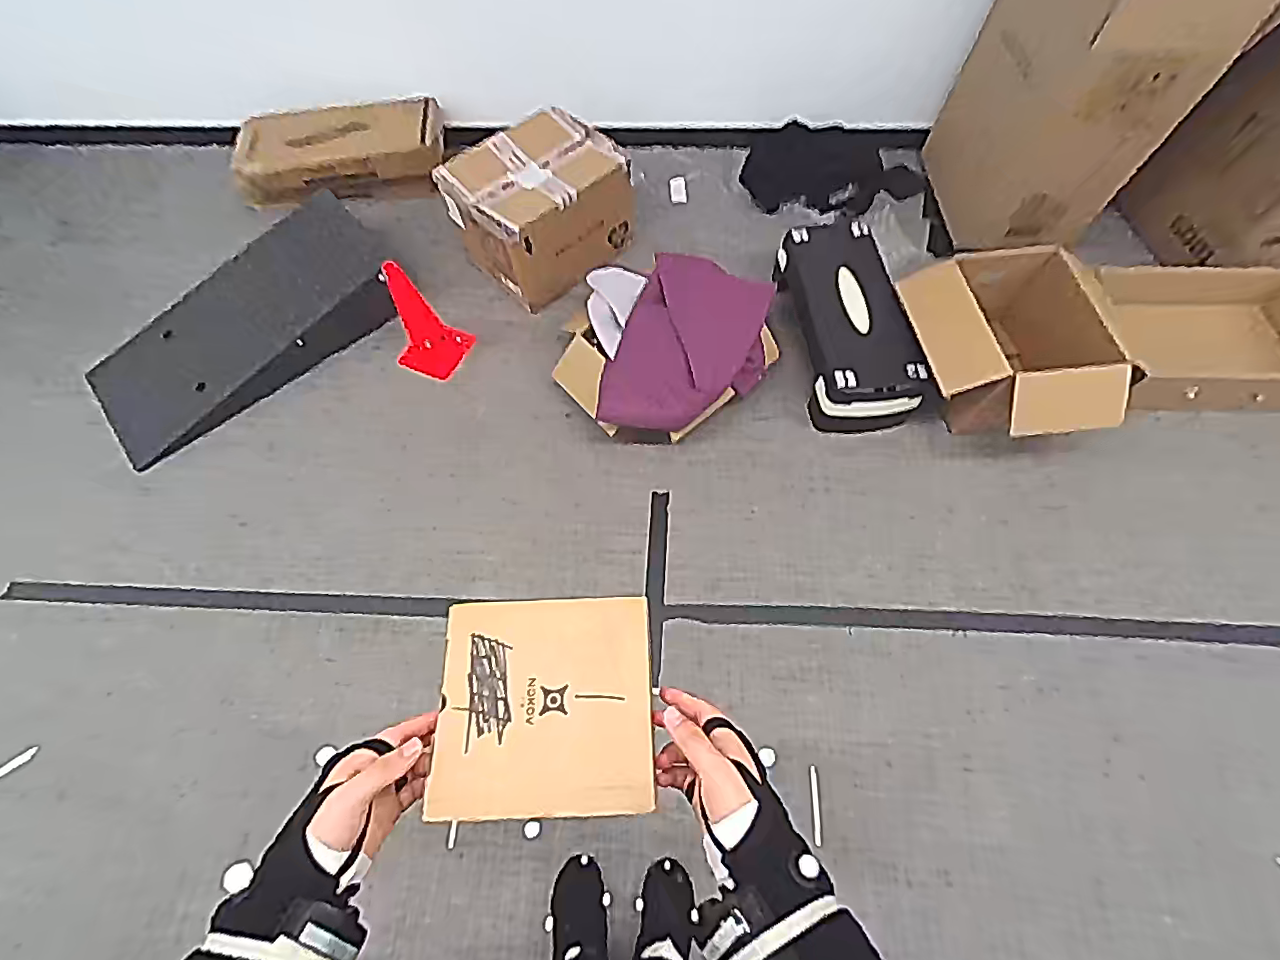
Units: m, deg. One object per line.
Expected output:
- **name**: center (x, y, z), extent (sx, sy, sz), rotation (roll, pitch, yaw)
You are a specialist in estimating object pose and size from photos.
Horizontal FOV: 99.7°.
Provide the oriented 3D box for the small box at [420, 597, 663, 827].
- **small box**: center (-0.071, 0.212, 0.493), extent (0.179, 0.176, 0.168), rotation (-3, 63, 1)
